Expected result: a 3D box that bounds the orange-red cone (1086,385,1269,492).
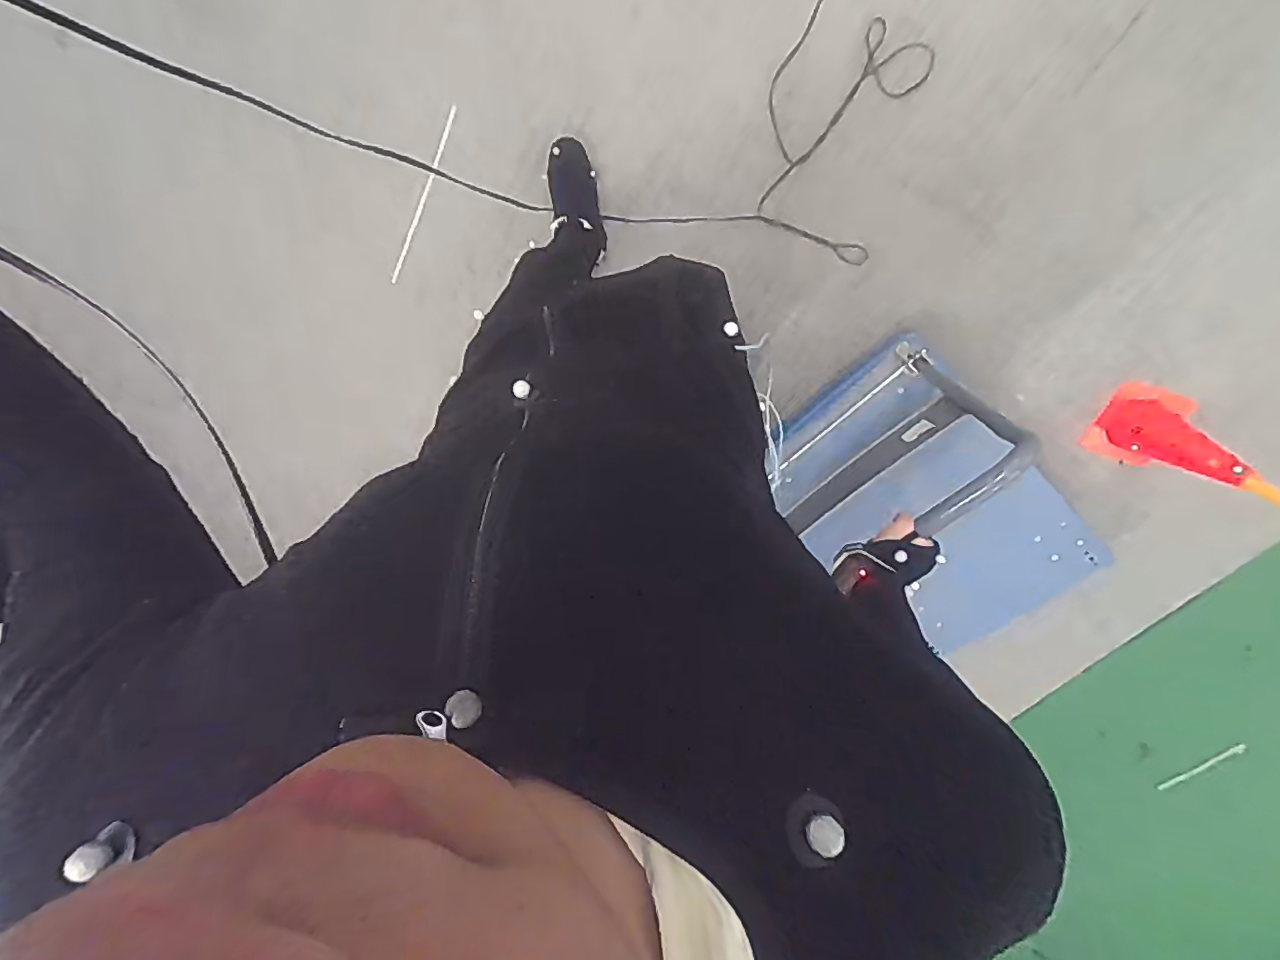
[{"bbox_3d":[1.309,-0.068,1.284,0.198,0.360,0.199,19,116,-2],"label":"orange-red cone"}]
